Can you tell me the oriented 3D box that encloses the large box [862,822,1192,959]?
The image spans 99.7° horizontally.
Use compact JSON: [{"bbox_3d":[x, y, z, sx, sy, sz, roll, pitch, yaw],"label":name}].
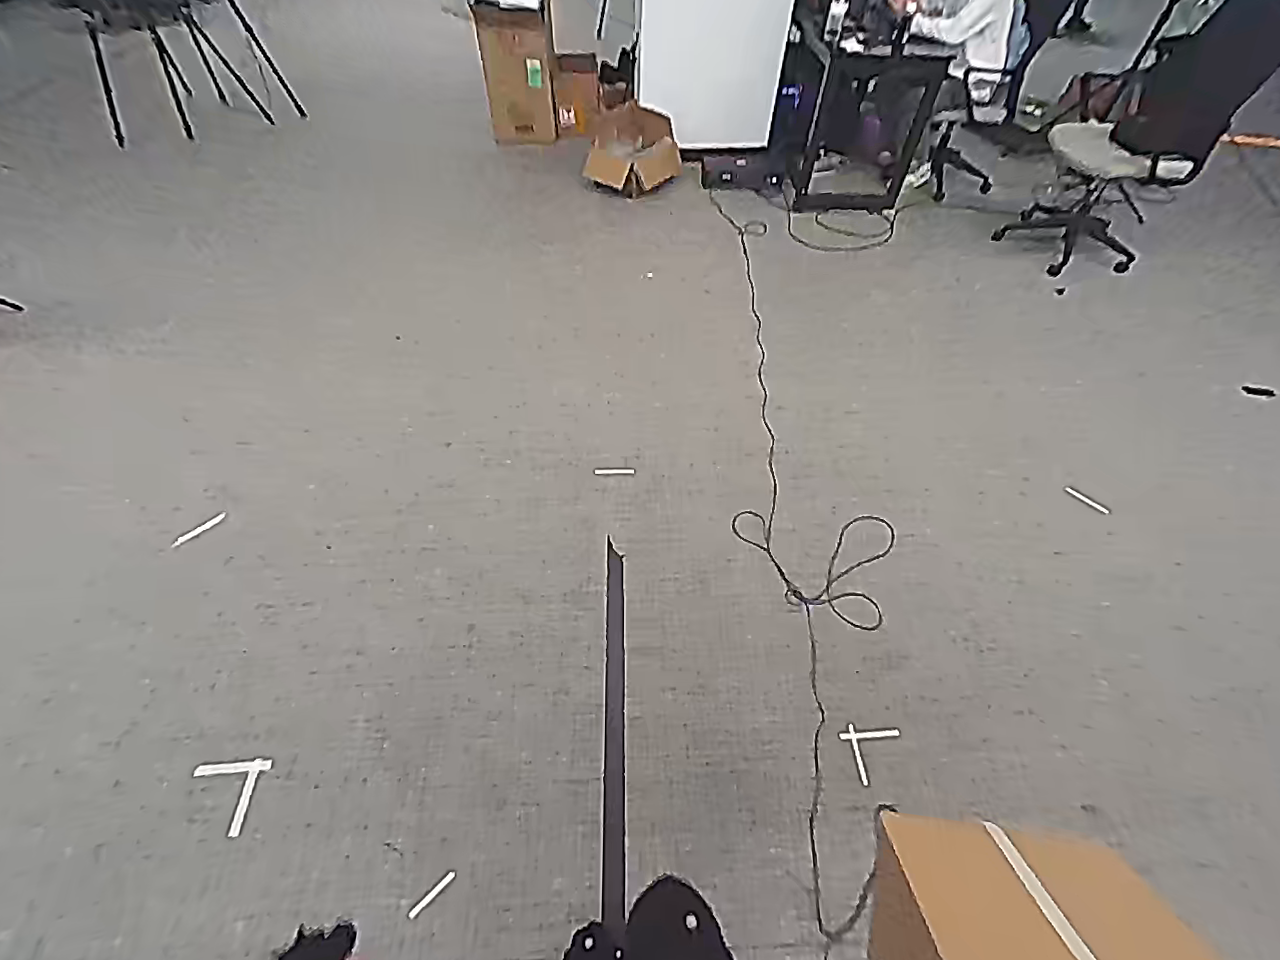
[{"bbox_3d":[0.473,0.693,0.613,0.320,0.408,0.320,5,96,7],"label":"large box"}]
